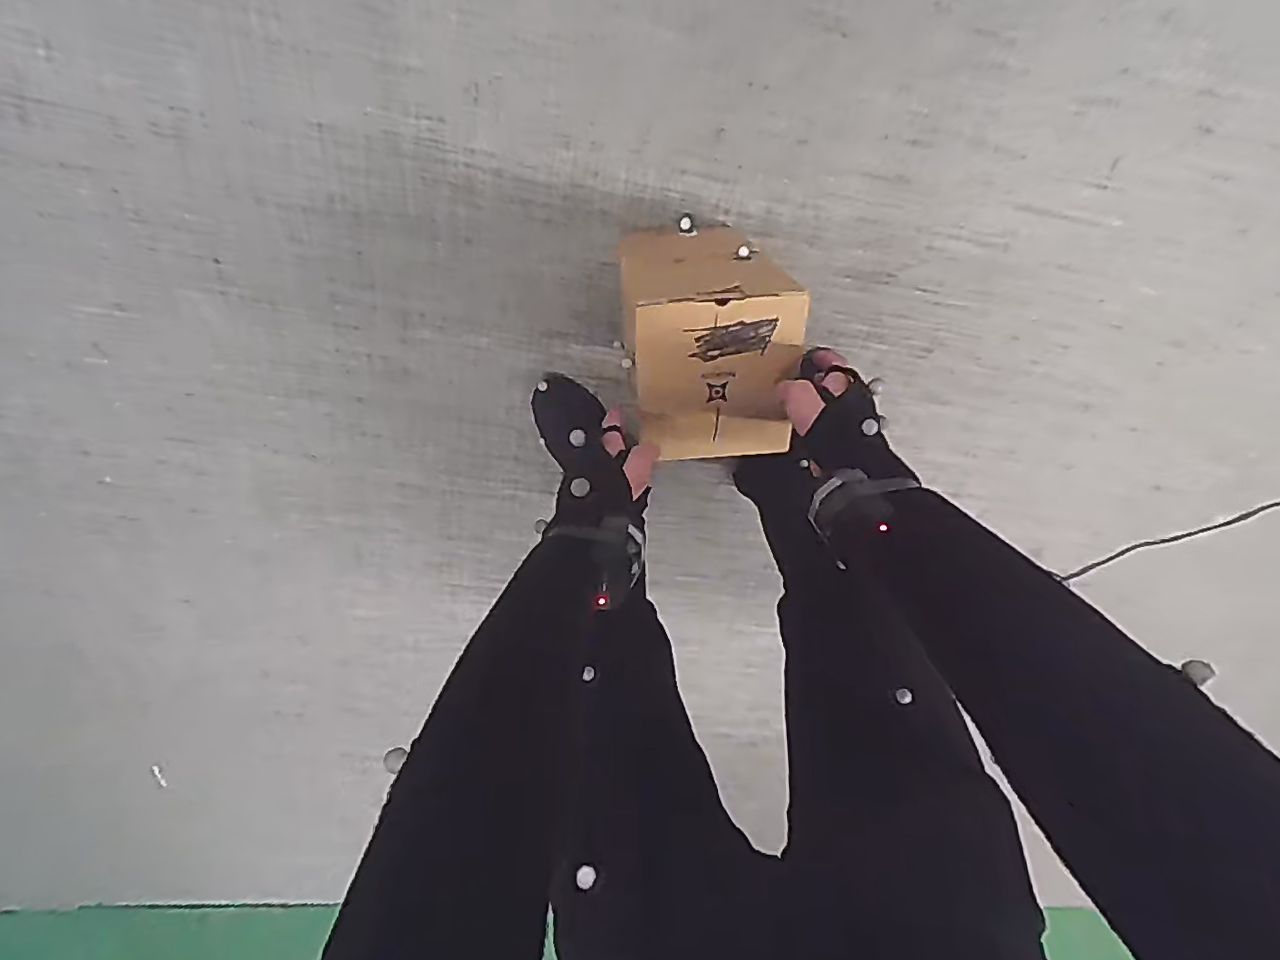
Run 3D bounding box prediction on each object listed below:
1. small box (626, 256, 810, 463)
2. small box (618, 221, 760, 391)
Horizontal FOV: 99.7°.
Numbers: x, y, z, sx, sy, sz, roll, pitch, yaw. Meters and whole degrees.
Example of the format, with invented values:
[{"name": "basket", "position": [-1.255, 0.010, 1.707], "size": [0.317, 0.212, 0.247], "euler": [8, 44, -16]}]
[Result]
[{"name": "small box", "position": [0.073, -0.141, 0.600], "size": [0.168, 0.176, 0.179], "euler": [-4, 126, 0]}, {"name": "small box", "position": [0.059, -0.237, 0.733], "size": [0.168, 0.176, 0.179], "euler": [-5, 124, 0]}]
